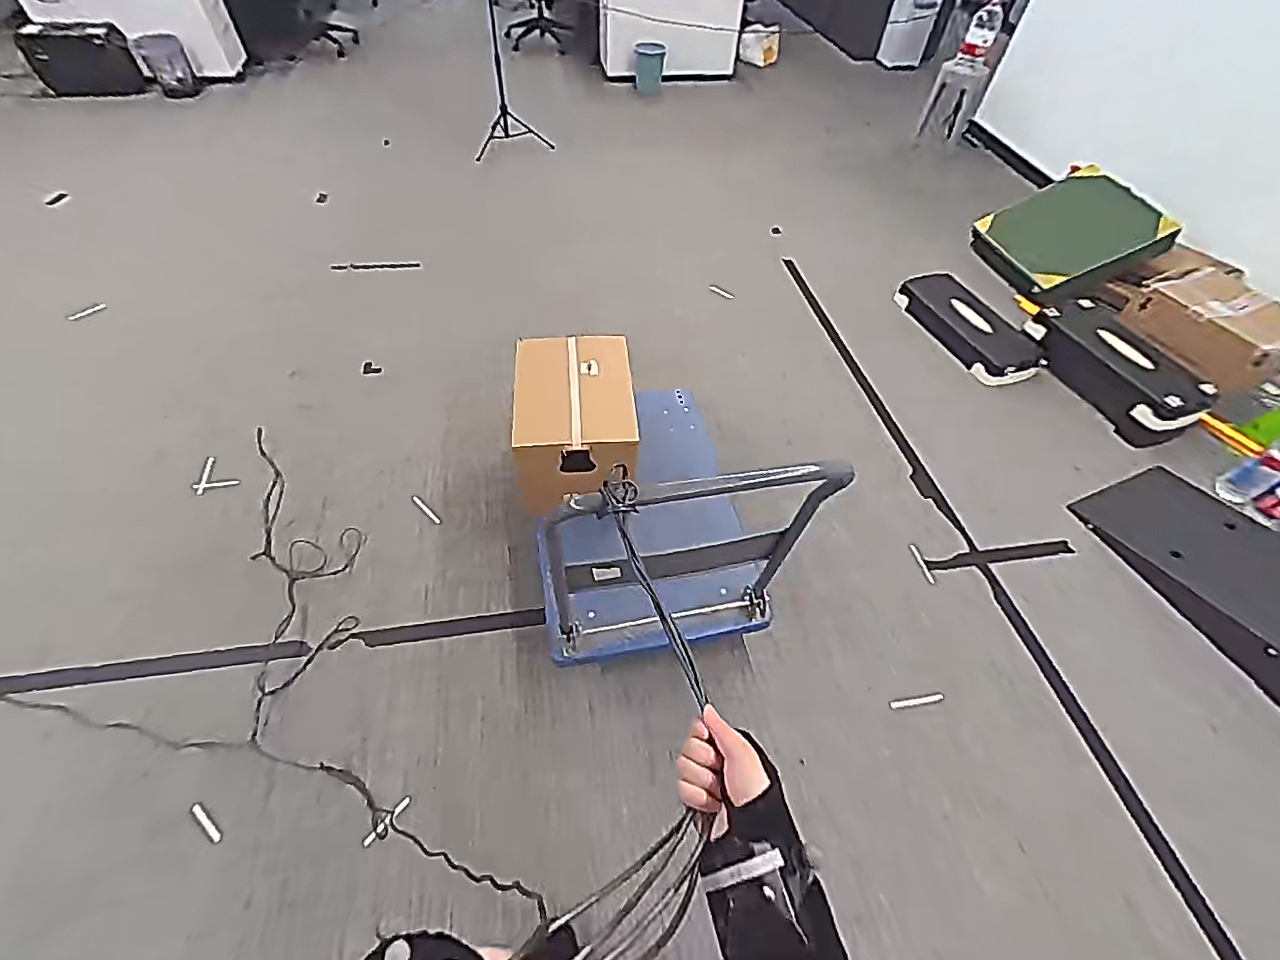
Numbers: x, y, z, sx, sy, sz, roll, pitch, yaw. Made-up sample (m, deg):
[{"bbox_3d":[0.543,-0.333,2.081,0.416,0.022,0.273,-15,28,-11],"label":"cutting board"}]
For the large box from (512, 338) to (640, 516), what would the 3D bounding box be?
[{"bbox_3d":[-0.182,-0.151,1.541,0.320,0.320,0.408,-3,53,-6],"label":"large box"}]
